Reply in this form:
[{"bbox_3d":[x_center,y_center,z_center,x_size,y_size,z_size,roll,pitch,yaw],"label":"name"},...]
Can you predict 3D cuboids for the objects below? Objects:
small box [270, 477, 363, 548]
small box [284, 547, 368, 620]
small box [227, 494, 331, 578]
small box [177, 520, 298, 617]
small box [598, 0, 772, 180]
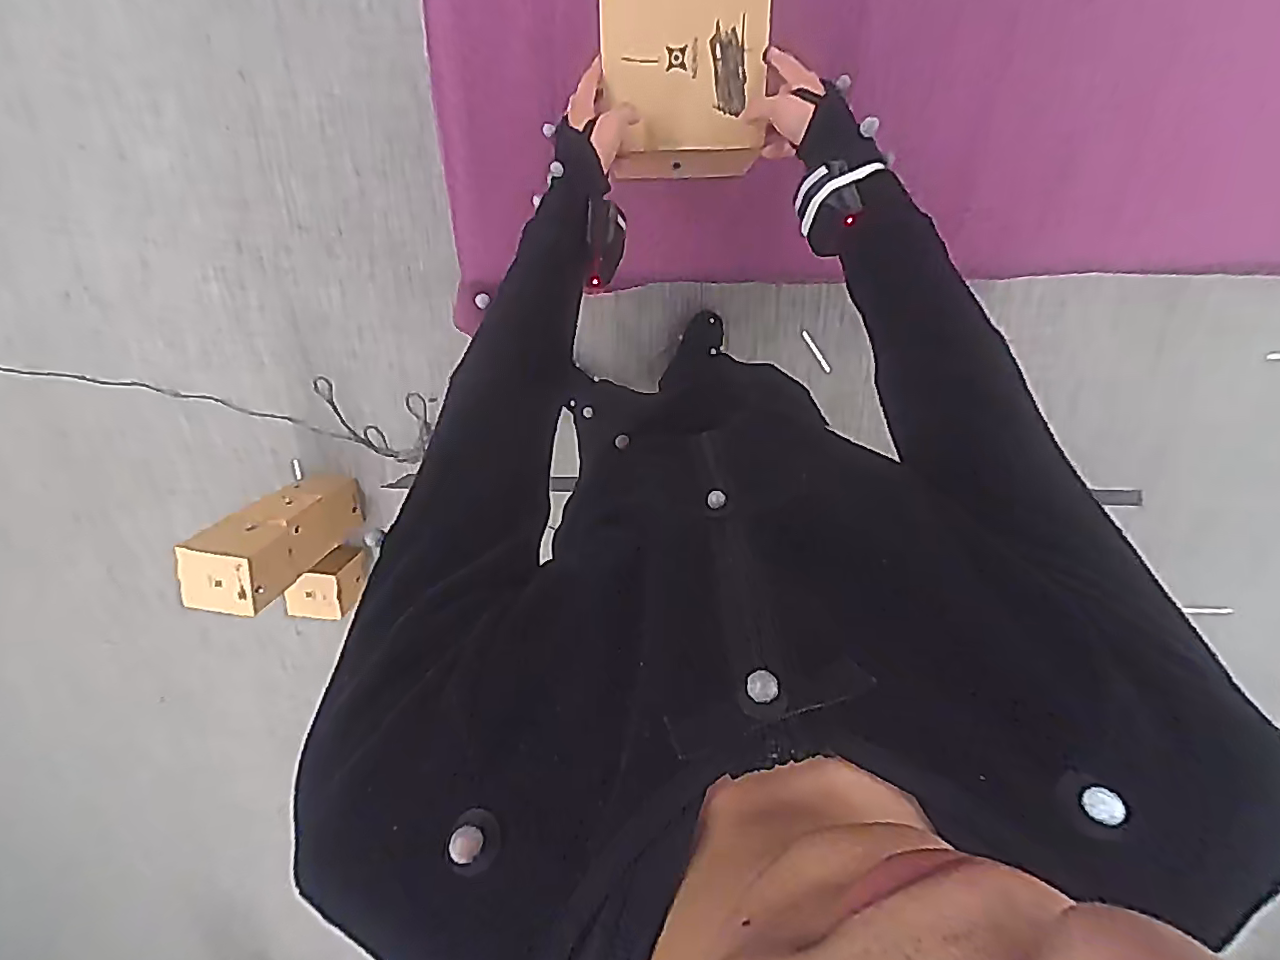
[{"bbox_3d":[-0.991,0.097,1.666,0.179,0.176,0.168,1,111,2],"label":"small box"},{"bbox_3d":[-1.015,0.327,1.752,0.179,0.176,0.168,6,111,0],"label":"small box"},{"bbox_3d":[-0.998,0.154,1.515,0.168,0.176,0.179,3,111,2],"label":"small box"},{"bbox_3d":[-1.004,0.215,1.362,0.179,0.176,0.168,10,111,0],"label":"small box"},{"bbox_3d":[0.048,-0.458,0.630,0.179,0.176,0.168,0,110,3],"label":"small box"}]
